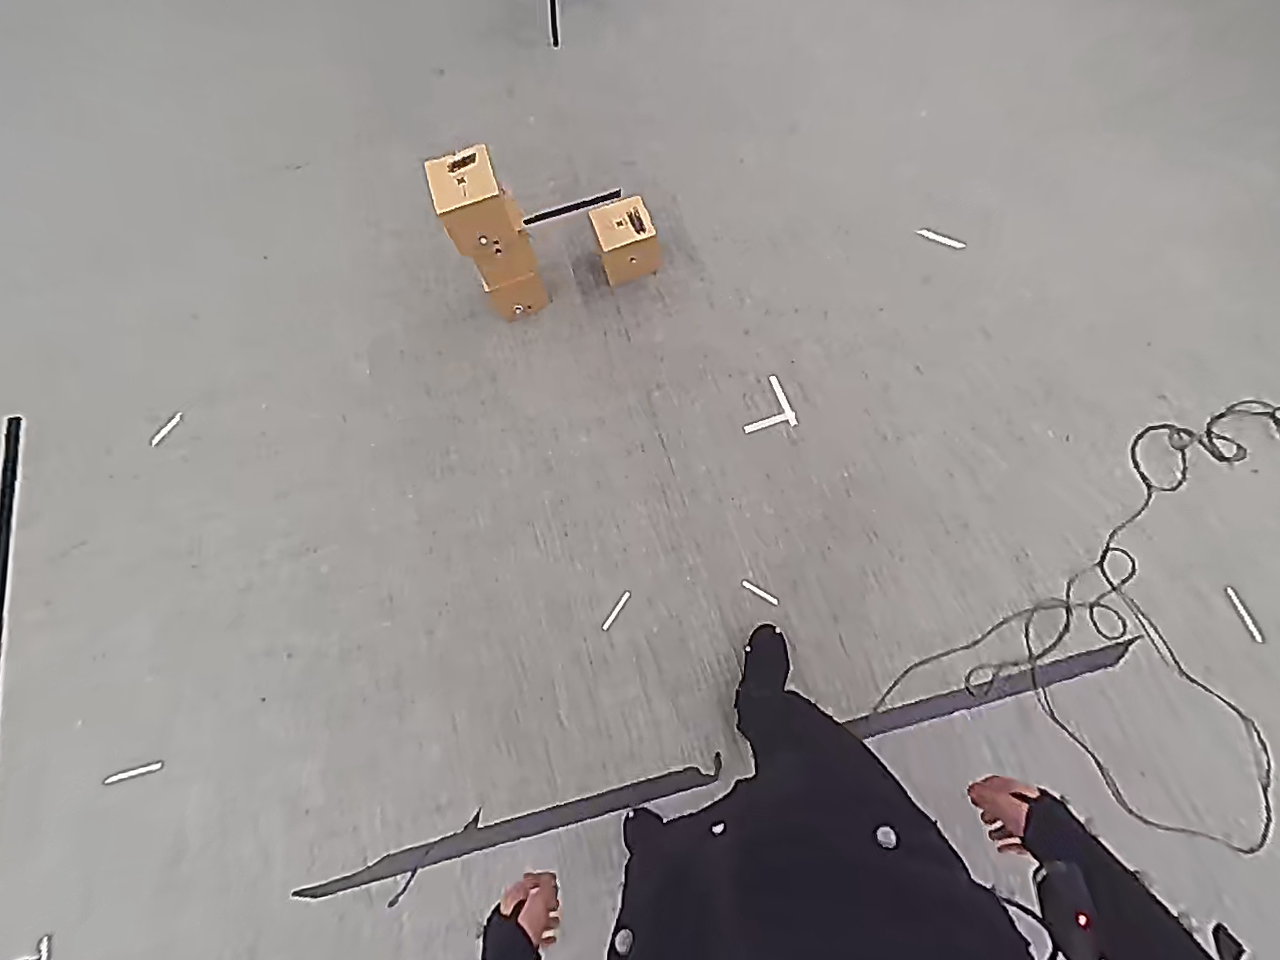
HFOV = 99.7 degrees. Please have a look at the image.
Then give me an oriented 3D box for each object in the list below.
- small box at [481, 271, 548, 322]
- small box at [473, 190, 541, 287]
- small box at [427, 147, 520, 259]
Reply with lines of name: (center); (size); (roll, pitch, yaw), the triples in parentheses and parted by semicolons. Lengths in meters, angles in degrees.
small box: (-0.411, -0.647, 1.746); (0.168, 0.176, 0.179); (-20, 73, -1)
small box: (-0.413, -0.702, 1.591); (0.179, 0.176, 0.168); (-22, 72, -2)
small box: (-0.434, -0.724, 1.428); (0.168, 0.176, 0.179); (-18, 73, 0)
